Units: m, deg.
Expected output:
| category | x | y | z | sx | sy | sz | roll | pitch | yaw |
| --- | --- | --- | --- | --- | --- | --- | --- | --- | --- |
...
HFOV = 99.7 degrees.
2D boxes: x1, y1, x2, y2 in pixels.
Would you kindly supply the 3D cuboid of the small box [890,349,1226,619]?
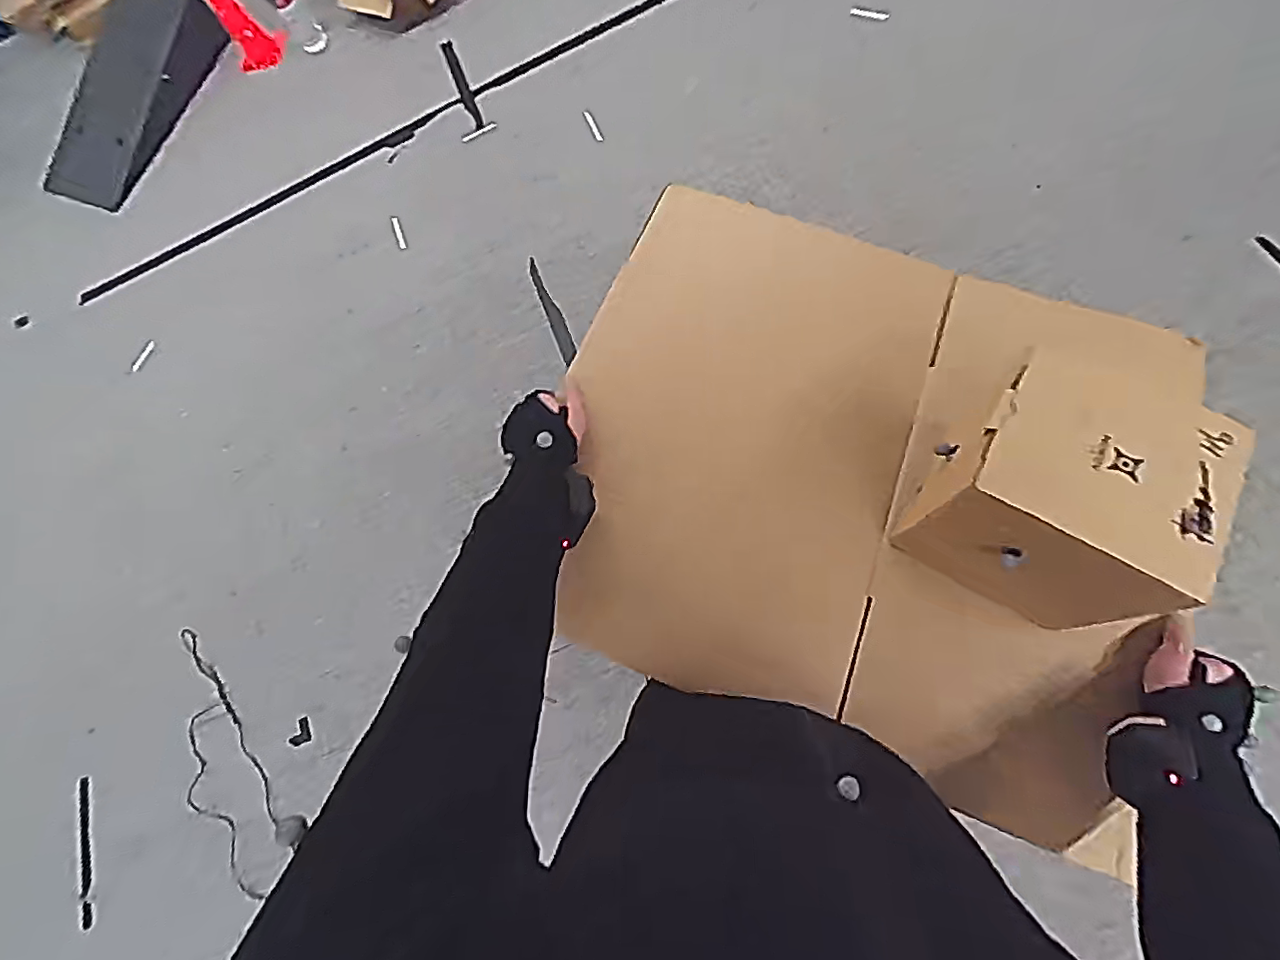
| category | x | y | z | sx | sy | sz | roll | pitch | yaw |
| --- | --- | --- | --- | --- | --- | --- | --- | --- | --- |
| small box | 0.373 | 0.015 | 0.517 | 0.179 | 0.176 | 0.168 | 29 | 72 | 14 |
